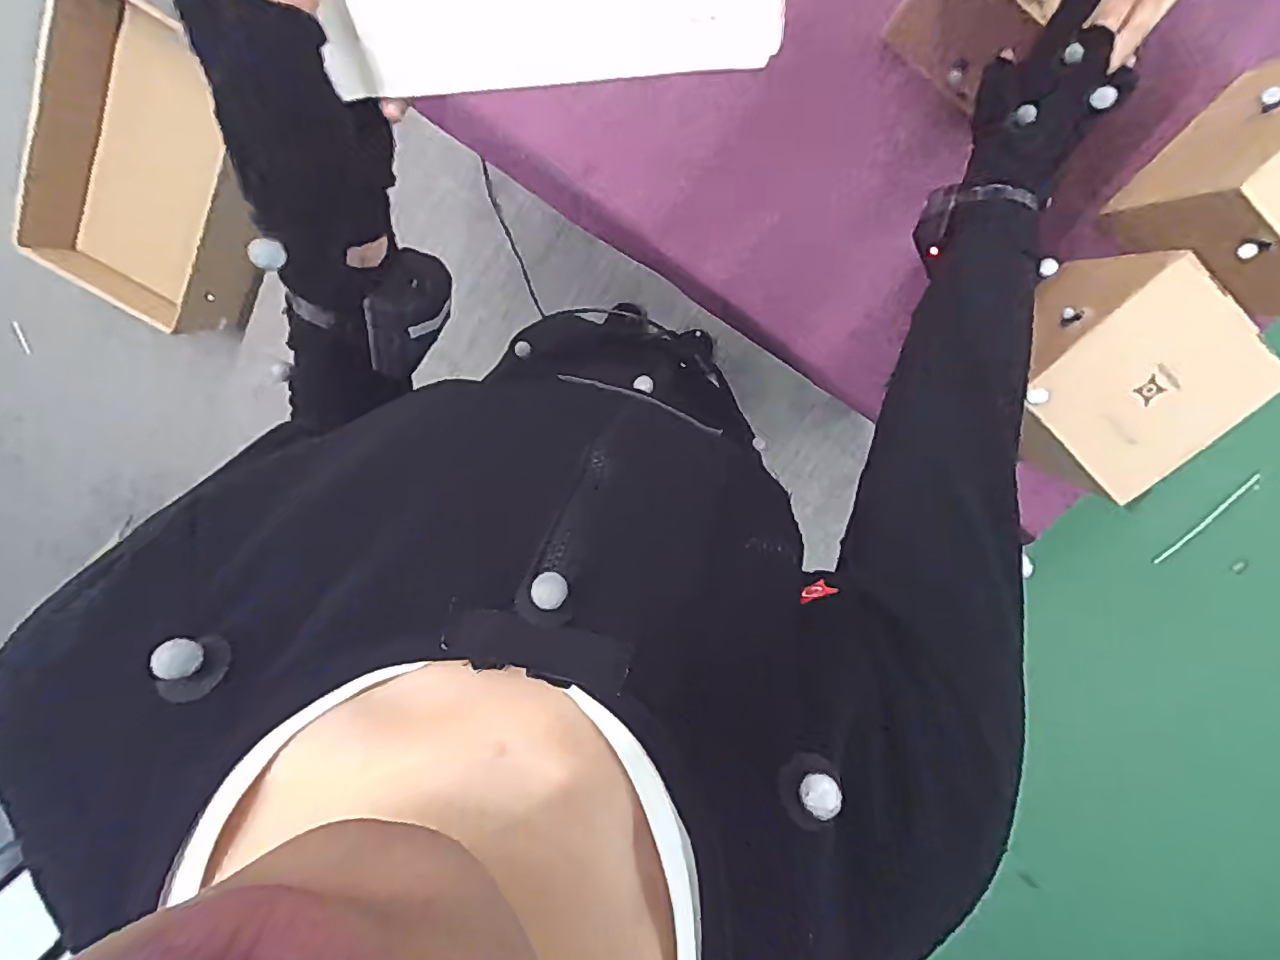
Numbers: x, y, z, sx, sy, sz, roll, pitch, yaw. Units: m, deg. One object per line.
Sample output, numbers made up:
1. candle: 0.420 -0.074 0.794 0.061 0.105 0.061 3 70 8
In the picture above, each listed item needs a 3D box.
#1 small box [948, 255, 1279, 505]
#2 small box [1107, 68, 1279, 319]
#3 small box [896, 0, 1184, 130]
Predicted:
1. small box: 0.480 -0.111 0.578 0.168 0.176 0.179 42 107 -9
2. small box: 0.616 -0.275 0.510 0.168 0.176 0.179 40 107 -9
3. small box: 0.363 -0.452 0.465 0.168 0.176 0.179 35 109 -8
